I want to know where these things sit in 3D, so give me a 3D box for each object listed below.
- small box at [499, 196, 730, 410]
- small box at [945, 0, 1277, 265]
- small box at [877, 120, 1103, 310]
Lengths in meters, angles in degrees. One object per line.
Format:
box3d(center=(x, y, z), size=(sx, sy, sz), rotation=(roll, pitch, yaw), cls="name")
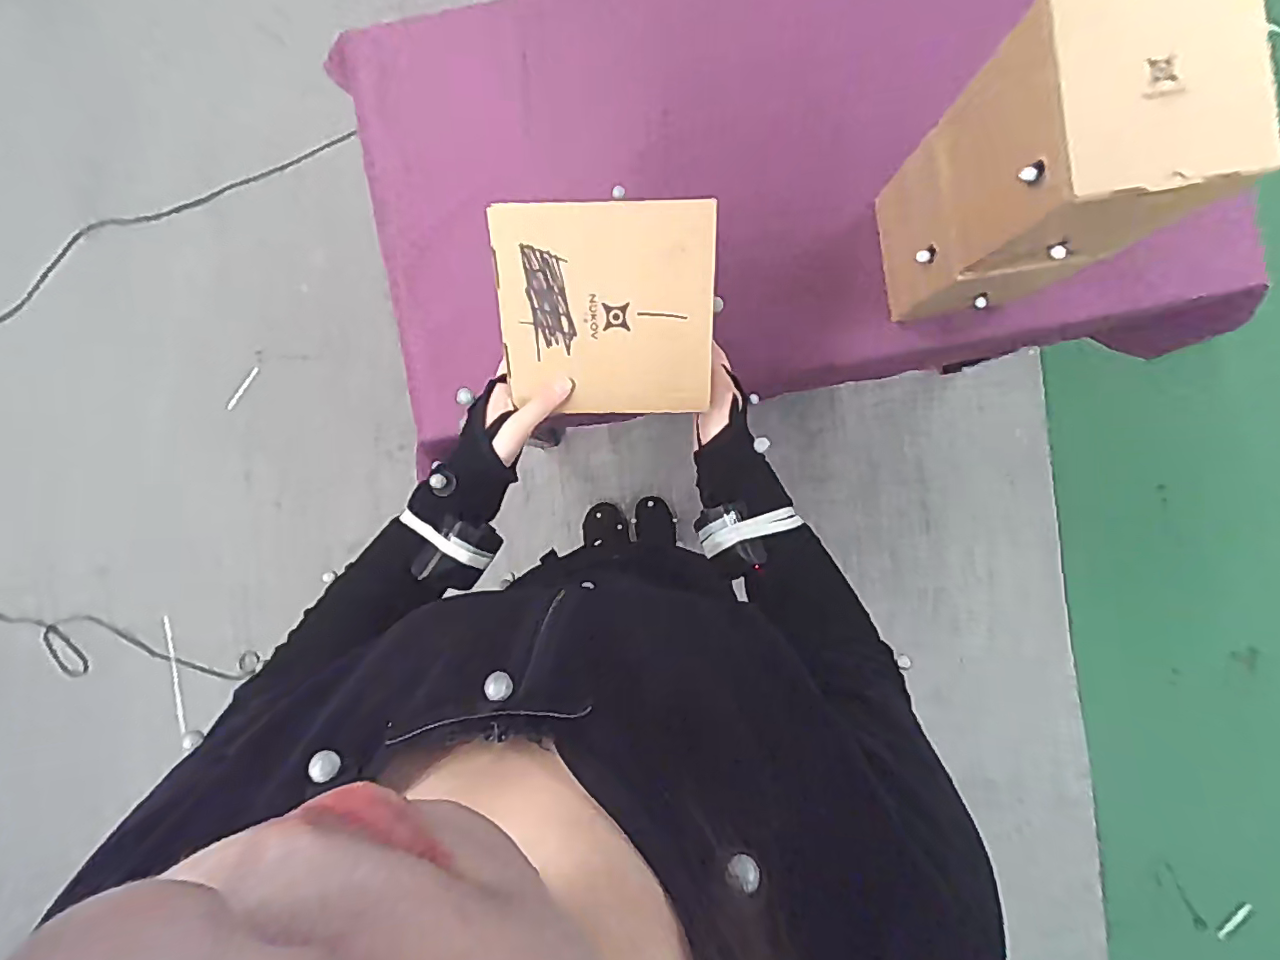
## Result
box3d(center=(-0.015, -0.169, 0.507), size=(0.179, 0.176, 0.168), rotation=(0, 115, 3), cls="small box")
box3d(center=(0.418, -0.330, 0.512), size=(0.168, 0.176, 0.179), rotation=(-9, 92, 2), cls="small box")
box3d(center=(0.419, -0.325, 0.676), size=(0.168, 0.176, 0.179), rotation=(-9, 91, 2), cls="small box")
